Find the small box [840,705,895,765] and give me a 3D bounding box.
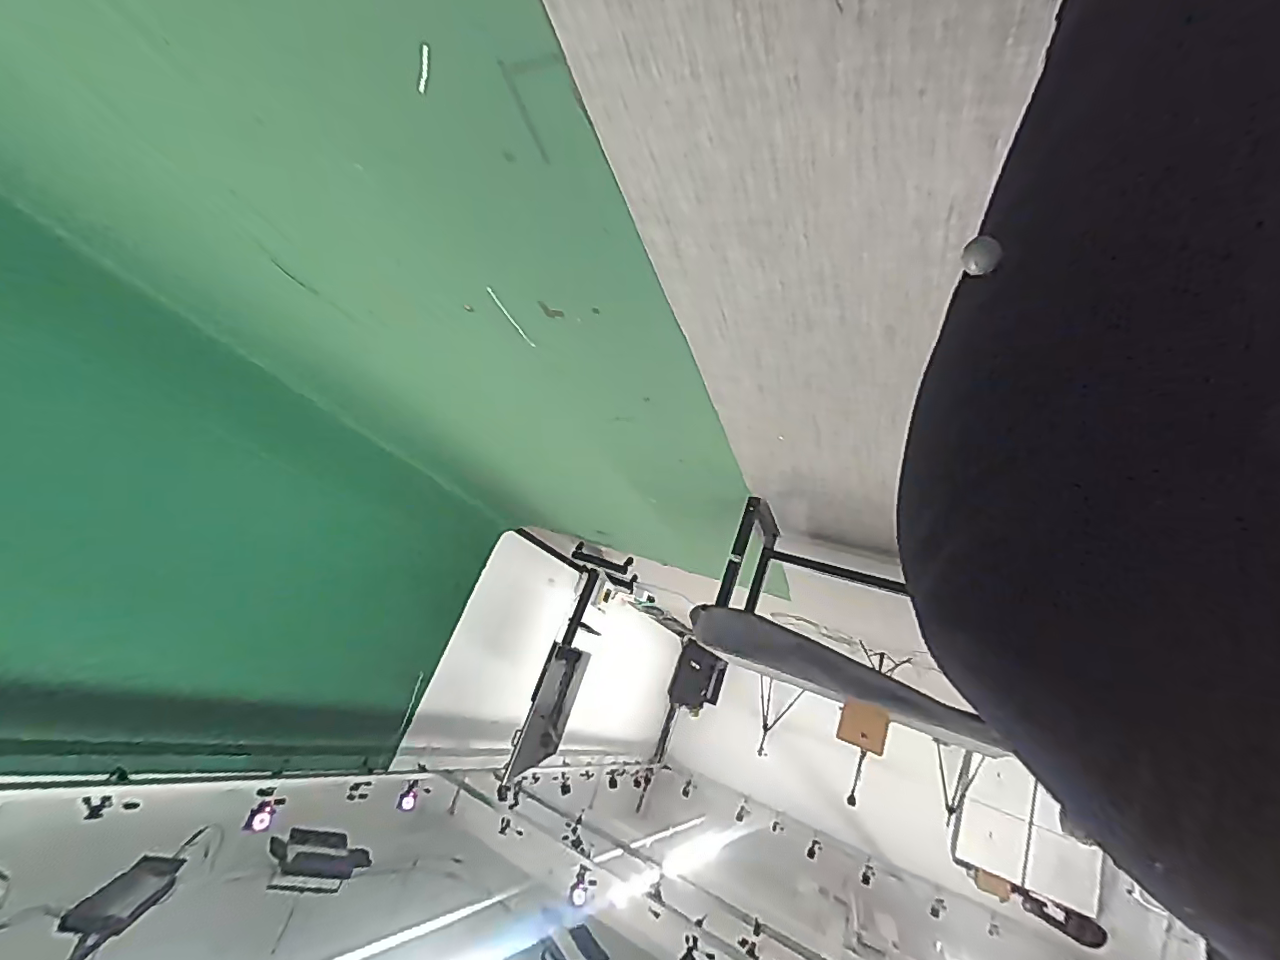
[{"bbox_3d":[0.904,1.012,2.149,0.179,0.176,0.168,14,159,26],"label":"small box"}]
